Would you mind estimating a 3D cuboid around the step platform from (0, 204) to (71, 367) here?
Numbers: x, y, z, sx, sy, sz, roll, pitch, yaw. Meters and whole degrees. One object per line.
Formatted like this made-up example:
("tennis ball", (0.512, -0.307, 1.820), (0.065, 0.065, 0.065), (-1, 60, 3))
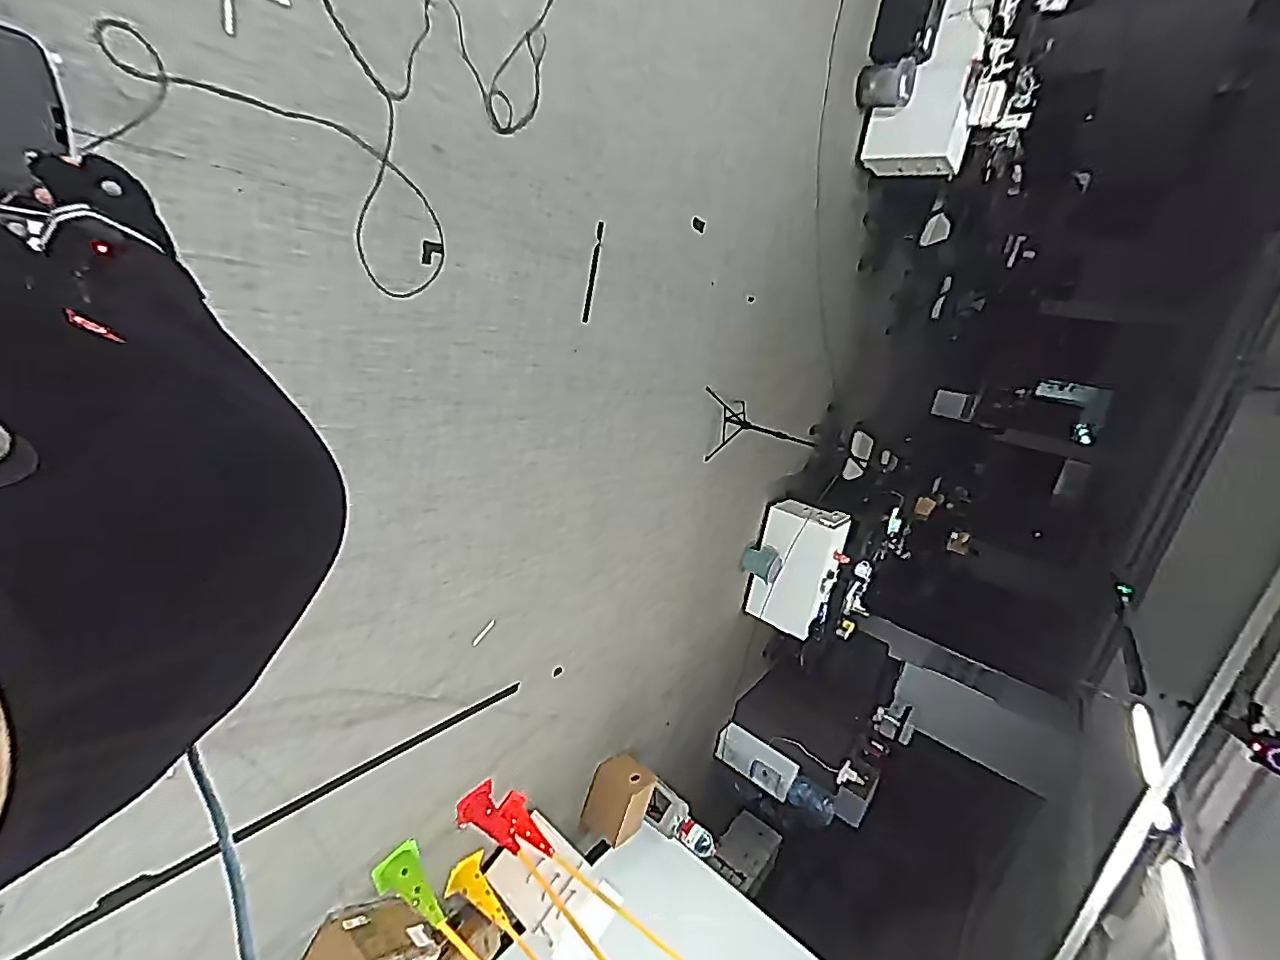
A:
("step platform", (-1.350, -0.326, 0.810), (0.684, 0.204, 0.286), (-12, 118, -49))
